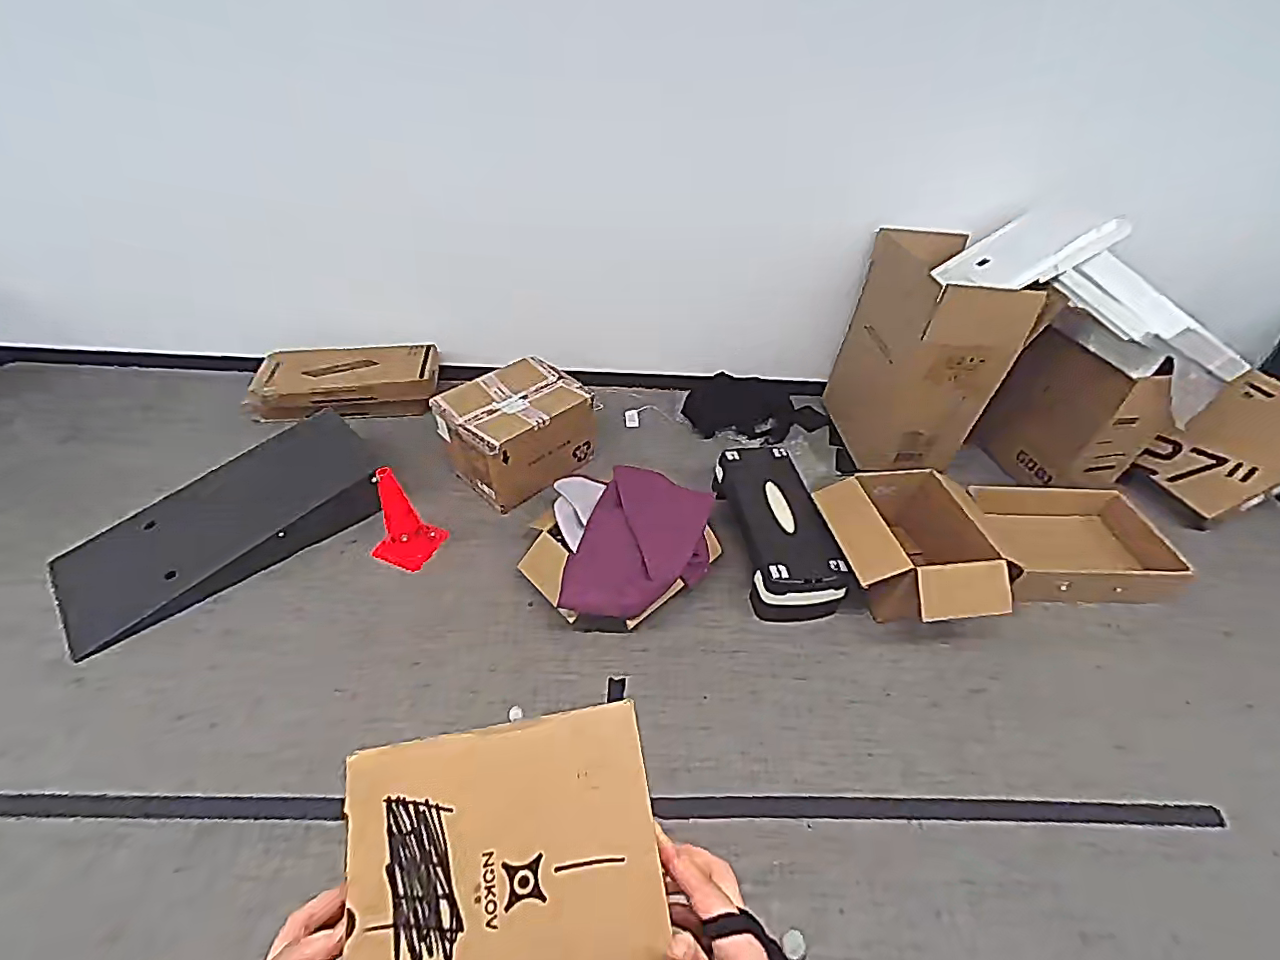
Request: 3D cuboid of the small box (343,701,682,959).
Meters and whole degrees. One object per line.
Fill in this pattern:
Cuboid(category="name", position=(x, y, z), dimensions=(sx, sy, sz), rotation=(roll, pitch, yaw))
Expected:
Cuboid(category="small box", position=(-0.082, 0.261, 0.370), dimensions=(0.179, 0.176, 0.168), rotation=(-5, 63, -13))
